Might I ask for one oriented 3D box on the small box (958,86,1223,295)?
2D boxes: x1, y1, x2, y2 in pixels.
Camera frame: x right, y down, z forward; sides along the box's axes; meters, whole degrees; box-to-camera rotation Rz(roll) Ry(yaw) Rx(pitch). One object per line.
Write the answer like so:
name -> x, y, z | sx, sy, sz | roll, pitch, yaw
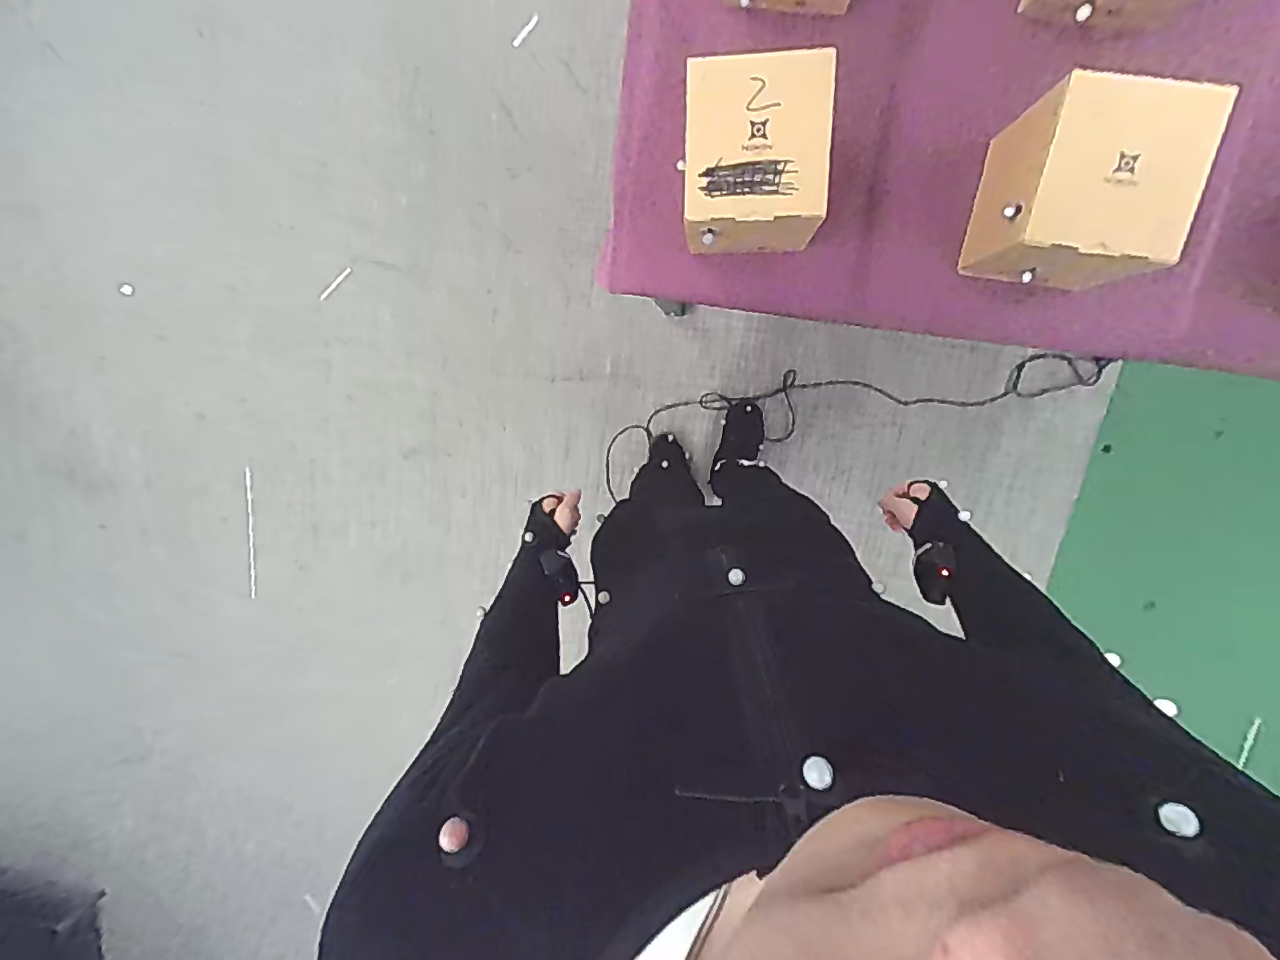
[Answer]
small box -> 0.532, -0.342, 0.672 | 0.168, 0.176, 0.179 | 10, 103, 4
